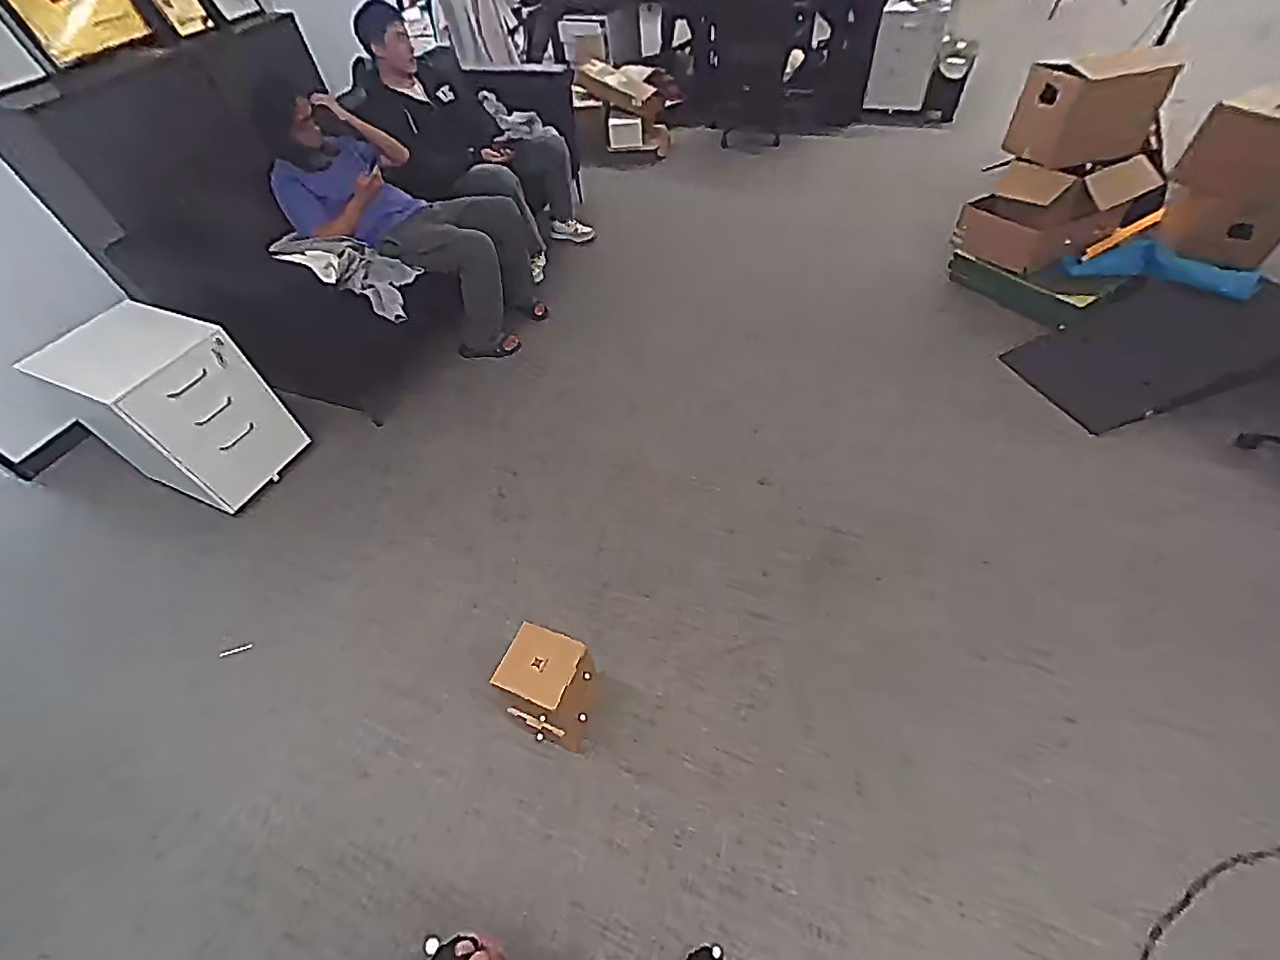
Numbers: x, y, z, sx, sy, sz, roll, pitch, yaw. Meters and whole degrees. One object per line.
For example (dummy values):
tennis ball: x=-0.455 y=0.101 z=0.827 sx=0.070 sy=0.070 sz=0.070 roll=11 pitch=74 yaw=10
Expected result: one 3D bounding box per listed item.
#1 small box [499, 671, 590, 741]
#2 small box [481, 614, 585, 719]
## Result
small box: x=-0.248 y=0.576 z=1.459 sx=0.168 sy=0.176 sz=0.179 roll=14 pitch=53 yaw=16
small box: x=-0.250 y=0.460 z=1.320 sx=0.179 sy=0.176 sz=0.168 roll=15 pitch=53 yaw=17
